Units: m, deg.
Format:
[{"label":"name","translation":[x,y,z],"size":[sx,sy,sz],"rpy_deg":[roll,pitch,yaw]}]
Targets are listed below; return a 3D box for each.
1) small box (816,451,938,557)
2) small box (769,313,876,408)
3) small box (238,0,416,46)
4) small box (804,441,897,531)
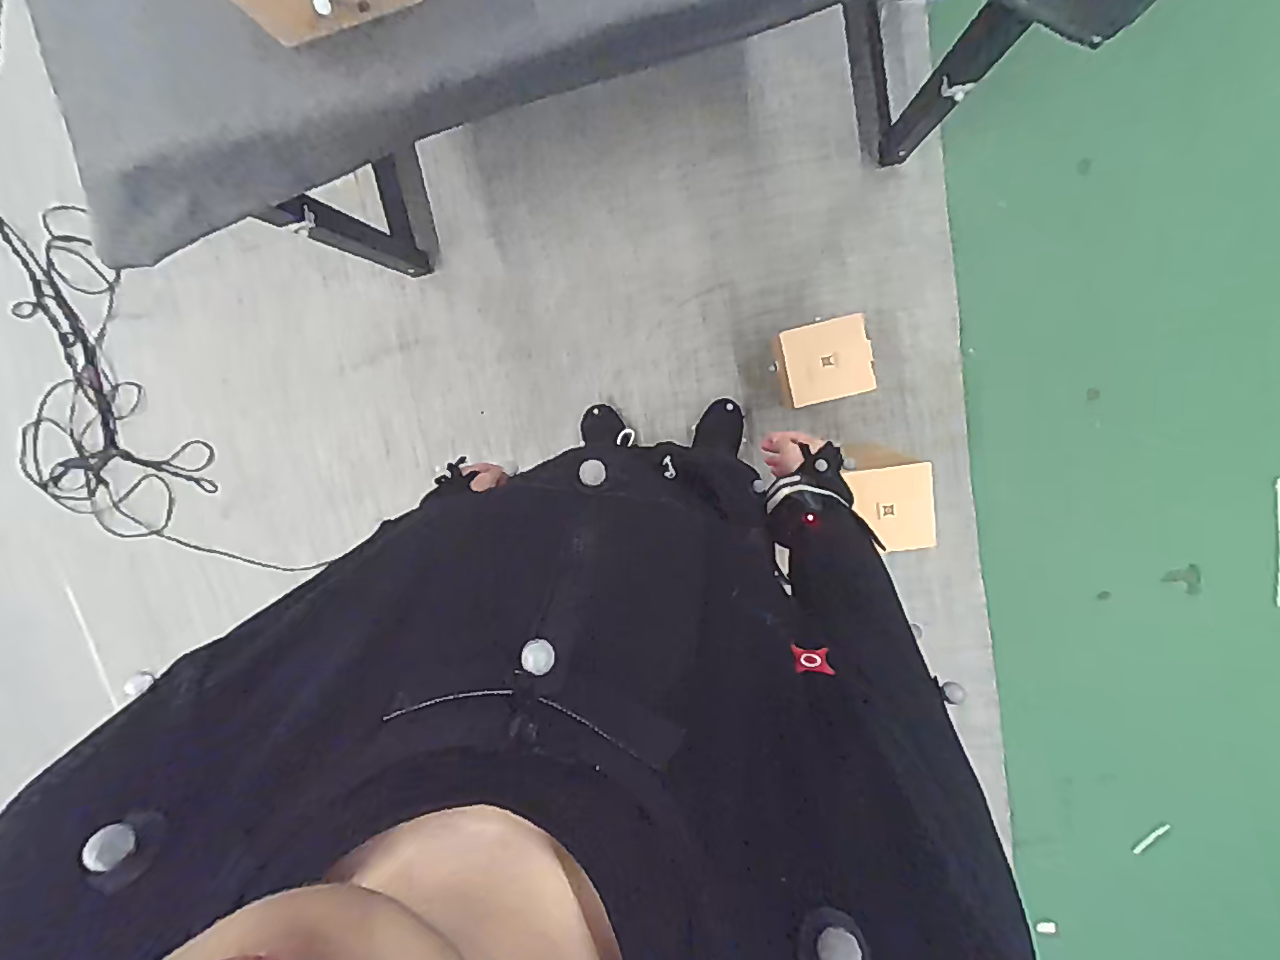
[{"label":"small box","translation":[0.467,0.042,1.084],"size":[0.179,0.176,0.168],"rpy_deg":[-8,100,7]},{"label":"small box","translation":[0.399,-0.262,1.203],"size":[0.179,0.176,0.168],"rpy_deg":[-13,98,8]},{"label":"small box","translation":[-0.328,-0.546,0.478],"size":[0.168,0.176,0.179],"rpy_deg":[-12,99,7]},{"label":"small box","translation":[0.480,0.011,1.244],"size":[0.179,0.176,0.168],"rpy_deg":[-9,100,8]}]
